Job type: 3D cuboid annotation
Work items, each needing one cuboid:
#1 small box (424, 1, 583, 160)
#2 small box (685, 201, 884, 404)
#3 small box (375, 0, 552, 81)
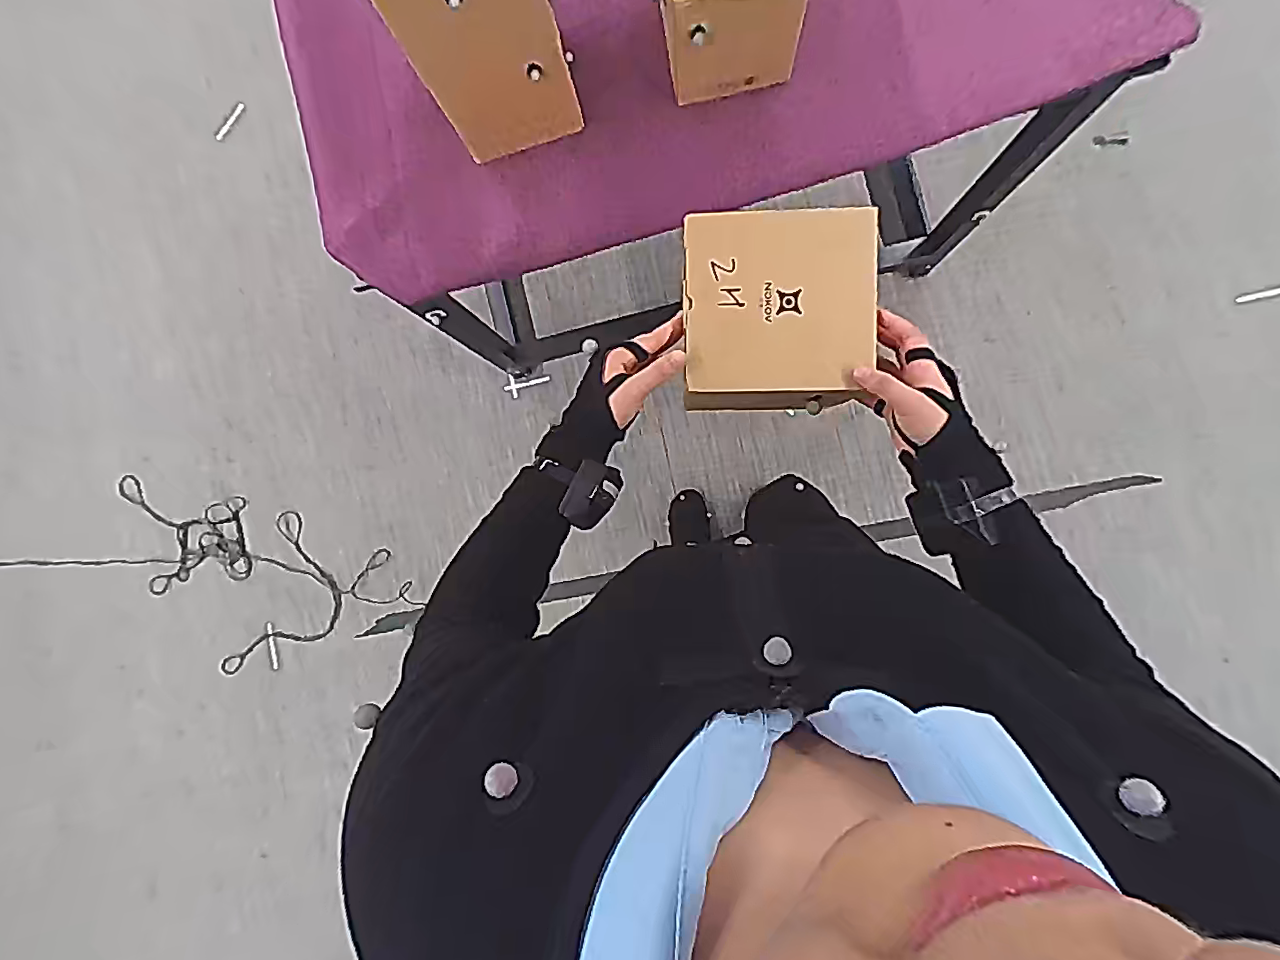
[{"bbox_3d":[-0.194,-0.584,0.745,0.179,0.176,0.168,-16,87,4],"label":"small box"},{"bbox_3d":[0.138,-0.172,0.573,0.179,0.176,0.168,0,91,5],"label":"small box"},{"bbox_3d":[-0.205,-0.586,0.581,0.179,0.176,0.168,-16,86,5],"label":"small box"}]
